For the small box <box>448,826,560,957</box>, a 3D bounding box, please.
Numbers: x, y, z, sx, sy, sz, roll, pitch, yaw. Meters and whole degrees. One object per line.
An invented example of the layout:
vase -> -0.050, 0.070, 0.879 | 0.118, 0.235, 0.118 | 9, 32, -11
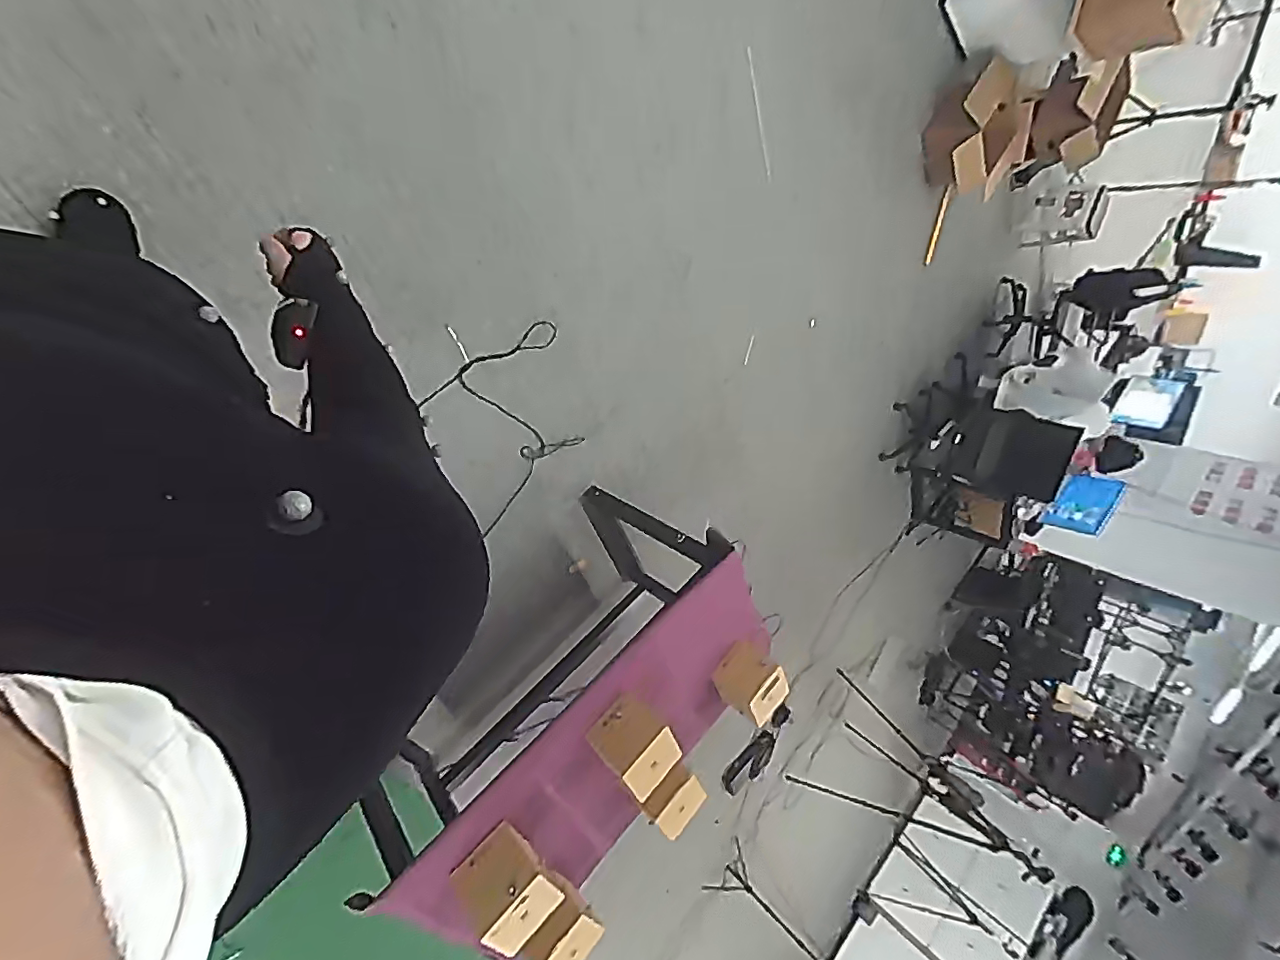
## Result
small box -> -0.323, 0.973, 1.290 | 0.168, 0.176, 0.179 | -40, 133, -26

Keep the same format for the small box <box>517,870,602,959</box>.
small box -> -0.239, 1.216, 1.476 | 0.168, 0.176, 0.179 | -43, 131, -25

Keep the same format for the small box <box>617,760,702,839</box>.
small box -> 0.059, 0.939, 1.647 | 0.168, 0.176, 0.179 | -42, 131, -22

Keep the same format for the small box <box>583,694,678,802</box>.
small box -> -0.026, 0.718, 1.466 | 0.168, 0.176, 0.179 | -41, 132, -25
